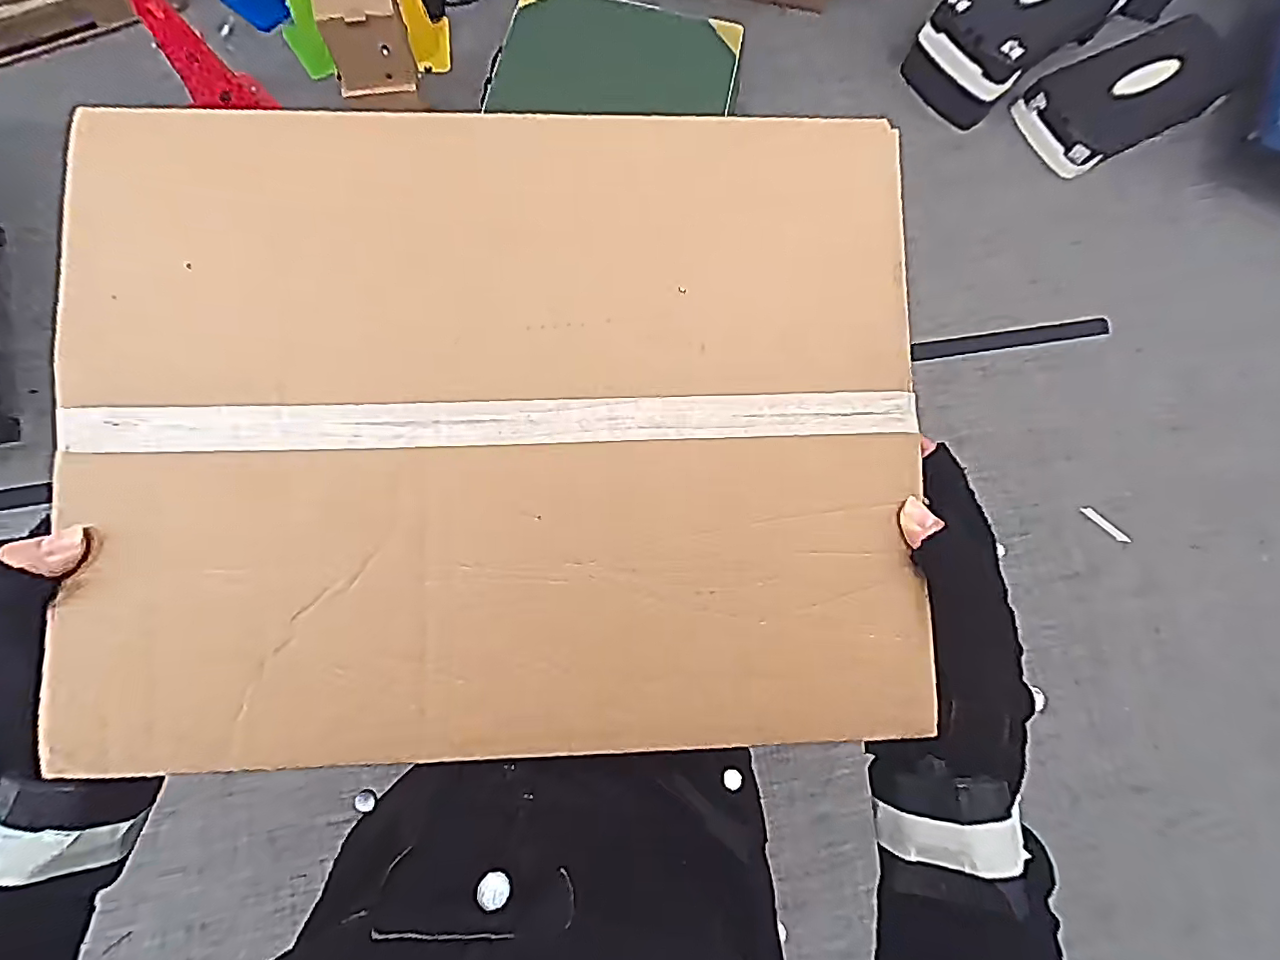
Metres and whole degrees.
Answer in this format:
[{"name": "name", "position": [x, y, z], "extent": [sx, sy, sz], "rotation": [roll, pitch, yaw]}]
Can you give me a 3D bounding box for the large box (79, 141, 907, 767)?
[{"name": "large box", "position": [-0.073, -0.015, 0.421], "extent": [0.408, 0.320, 0.320], "rotation": [-1, 85, -3]}]
